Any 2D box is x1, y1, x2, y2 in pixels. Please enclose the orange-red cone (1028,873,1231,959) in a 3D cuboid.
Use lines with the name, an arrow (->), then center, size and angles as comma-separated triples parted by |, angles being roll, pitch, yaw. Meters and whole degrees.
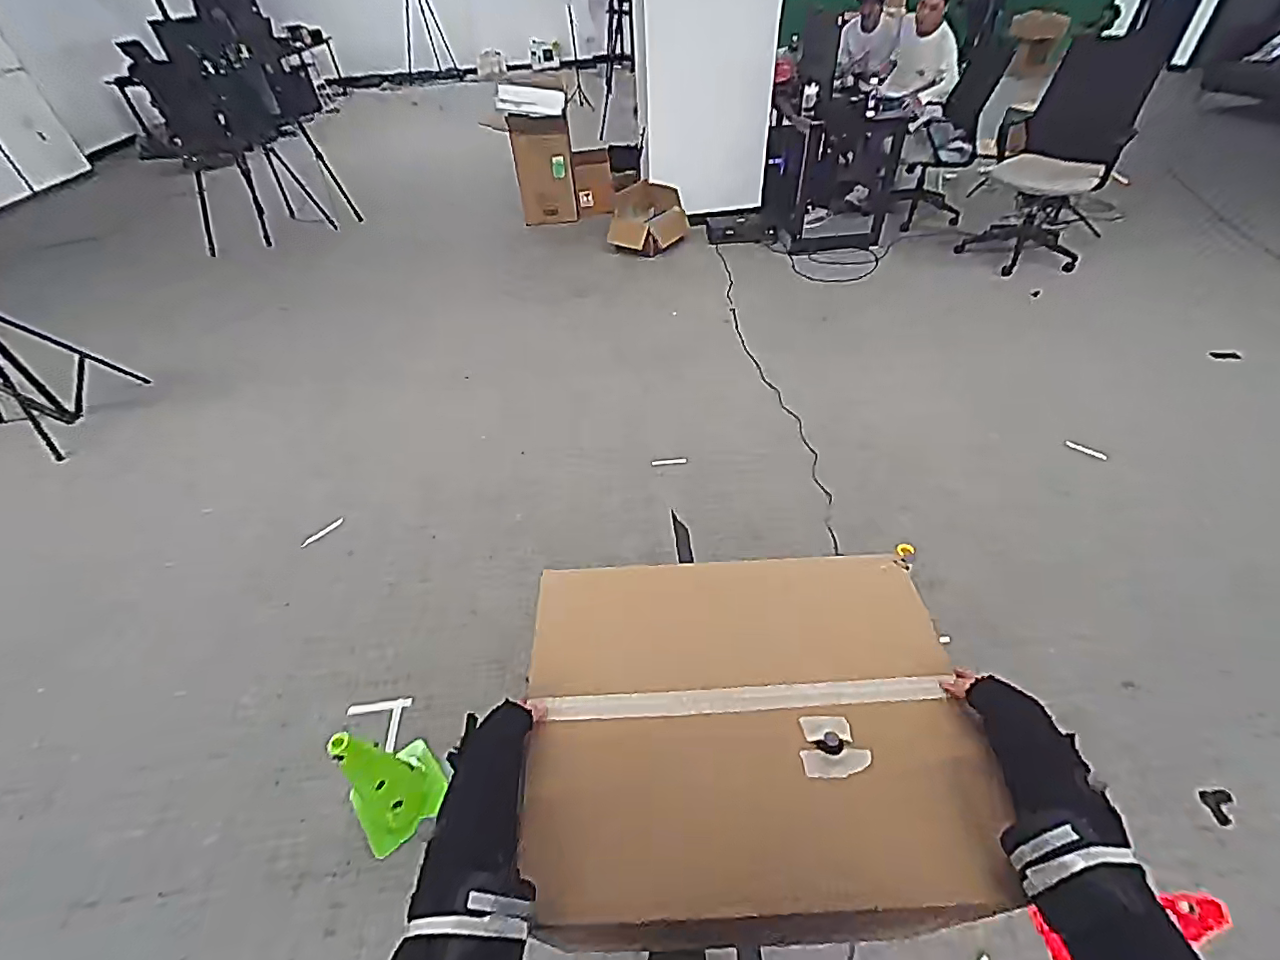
orange-red cone -> 0.907, 0.790, 0.963 | 0.198, 0.360, 0.199 | -7, 43, -4

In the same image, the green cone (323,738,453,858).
green cone -> -0.604, 0.662, 1.220 | 0.202, 0.368, 0.200 | -35, 51, -26

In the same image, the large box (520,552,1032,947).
large box -> 0.100, 0.306, 0.618 | 0.408, 0.320, 0.320 | -3, 46, -1
